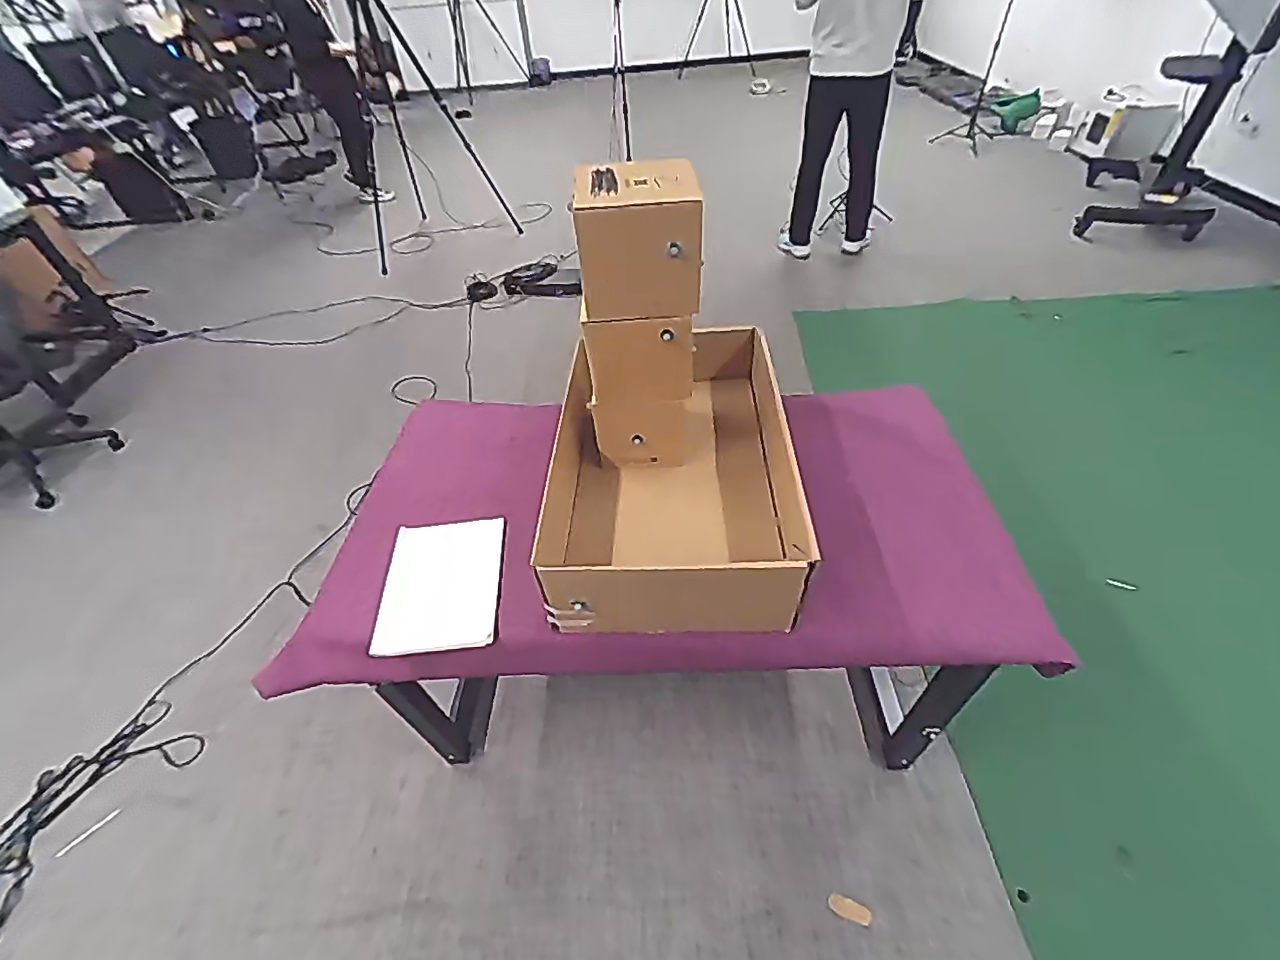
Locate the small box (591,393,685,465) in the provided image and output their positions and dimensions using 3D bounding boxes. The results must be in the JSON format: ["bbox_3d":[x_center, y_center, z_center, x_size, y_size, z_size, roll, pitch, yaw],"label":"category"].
[{"bbox_3d":[0.004,-0.142,1.063,0.168,0.176,0.179,-1,48,4],"label":"small box"}]

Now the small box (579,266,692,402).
[{"bbox_3d":[-0.002,-0.250,0.942,0.179,0.176,0.168,-3,47,2],"label":"small box"}]
